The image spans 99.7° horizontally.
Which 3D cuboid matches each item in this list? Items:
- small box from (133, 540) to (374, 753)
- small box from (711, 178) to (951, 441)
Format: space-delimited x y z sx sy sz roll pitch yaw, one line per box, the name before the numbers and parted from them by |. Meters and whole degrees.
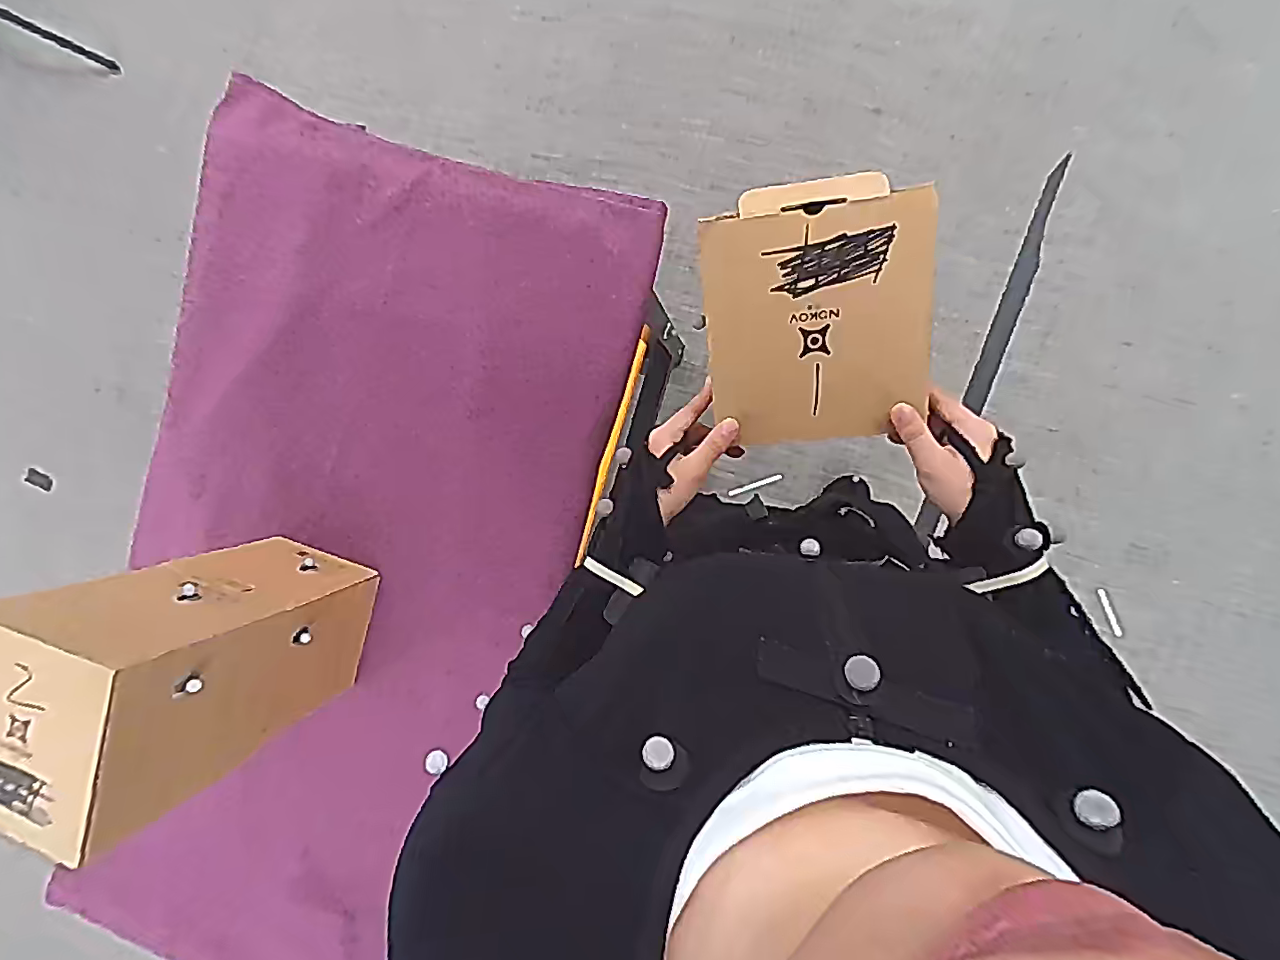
small box | -0.465 0.191 0.674 0.168 0.176 0.179 17 96 8
small box | 0.150 -0.145 0.478 0.168 0.176 0.179 -4 110 10
